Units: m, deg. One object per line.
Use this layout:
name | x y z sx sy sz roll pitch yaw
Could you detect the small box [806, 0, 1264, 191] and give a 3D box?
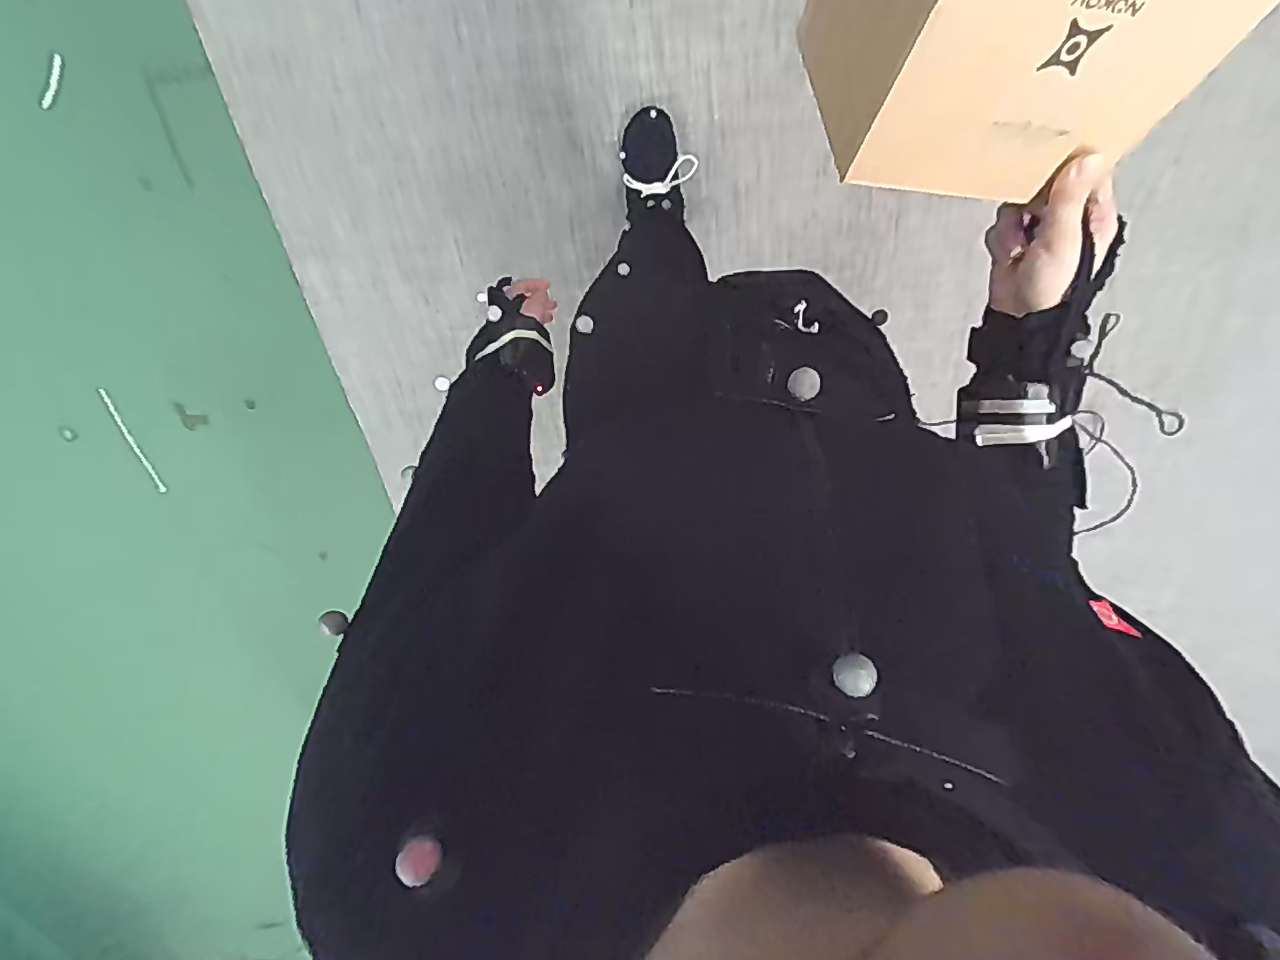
small box | 0.207 -0.296 0.290 0.168 0.176 0.179 1 155 -10
